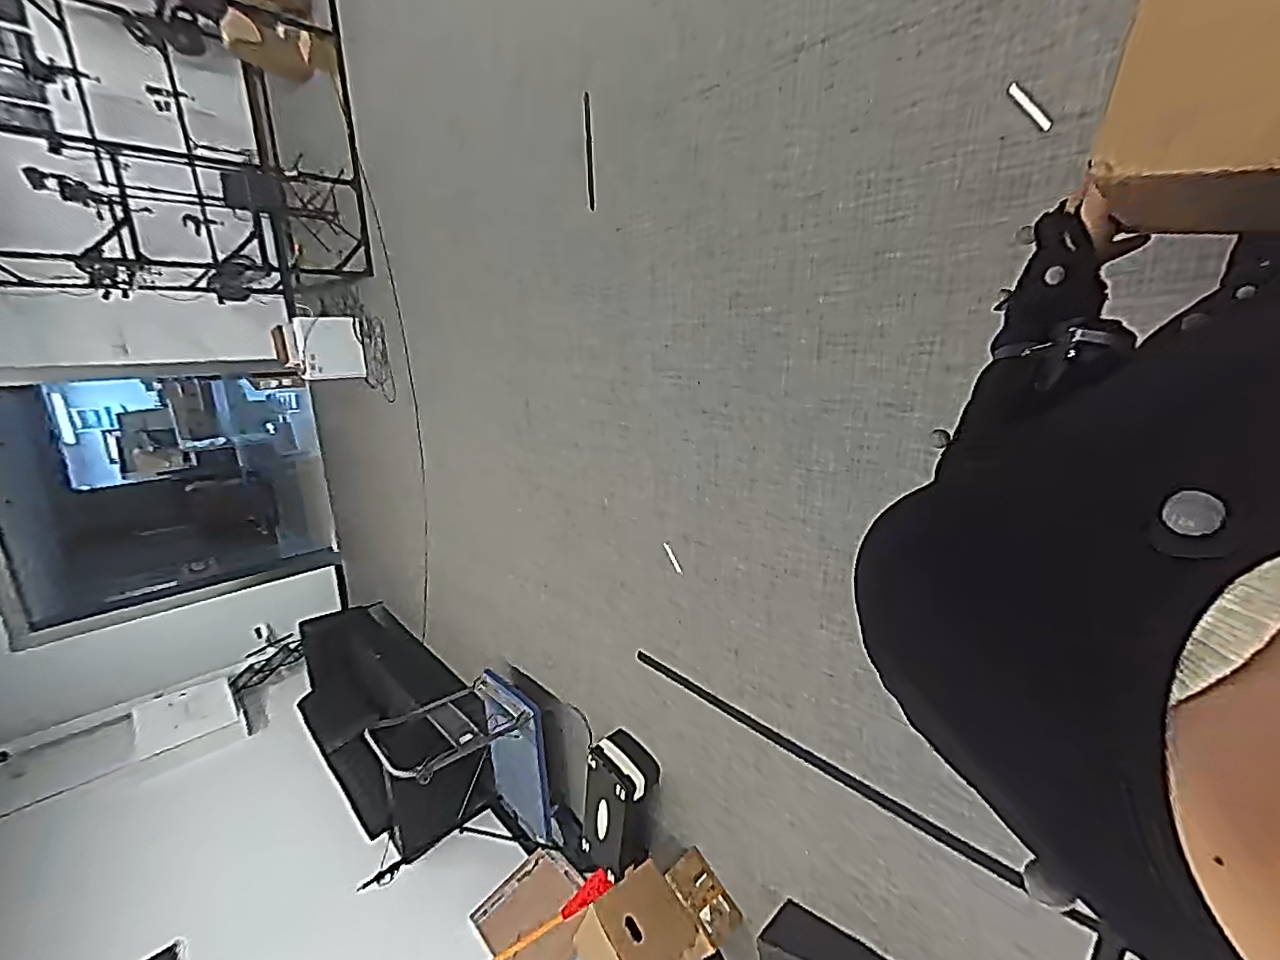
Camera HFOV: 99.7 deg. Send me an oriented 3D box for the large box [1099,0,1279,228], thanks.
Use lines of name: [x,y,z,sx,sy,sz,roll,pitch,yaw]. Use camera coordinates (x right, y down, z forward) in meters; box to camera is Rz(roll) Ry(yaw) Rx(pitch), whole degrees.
large box: [0.468,-0.280,0.194,0.408,0.320,0.320,20,117,37]
